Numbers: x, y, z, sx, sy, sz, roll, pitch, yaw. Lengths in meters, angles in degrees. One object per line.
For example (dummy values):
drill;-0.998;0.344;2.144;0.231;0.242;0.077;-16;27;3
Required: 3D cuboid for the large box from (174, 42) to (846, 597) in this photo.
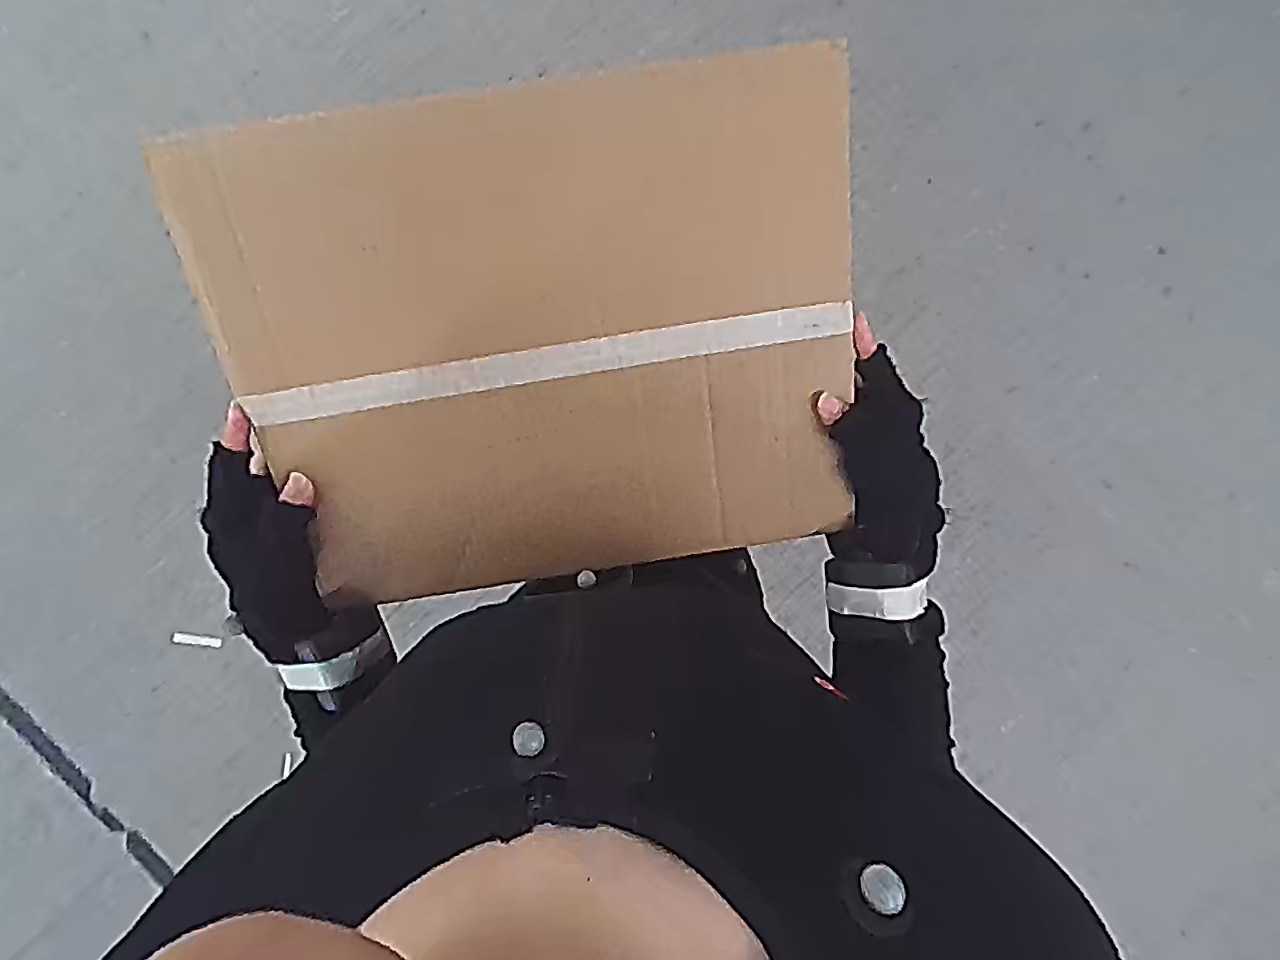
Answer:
large box;-0.069;-0.132;0.507;0.408;0.320;0.320;-9;111;-1
